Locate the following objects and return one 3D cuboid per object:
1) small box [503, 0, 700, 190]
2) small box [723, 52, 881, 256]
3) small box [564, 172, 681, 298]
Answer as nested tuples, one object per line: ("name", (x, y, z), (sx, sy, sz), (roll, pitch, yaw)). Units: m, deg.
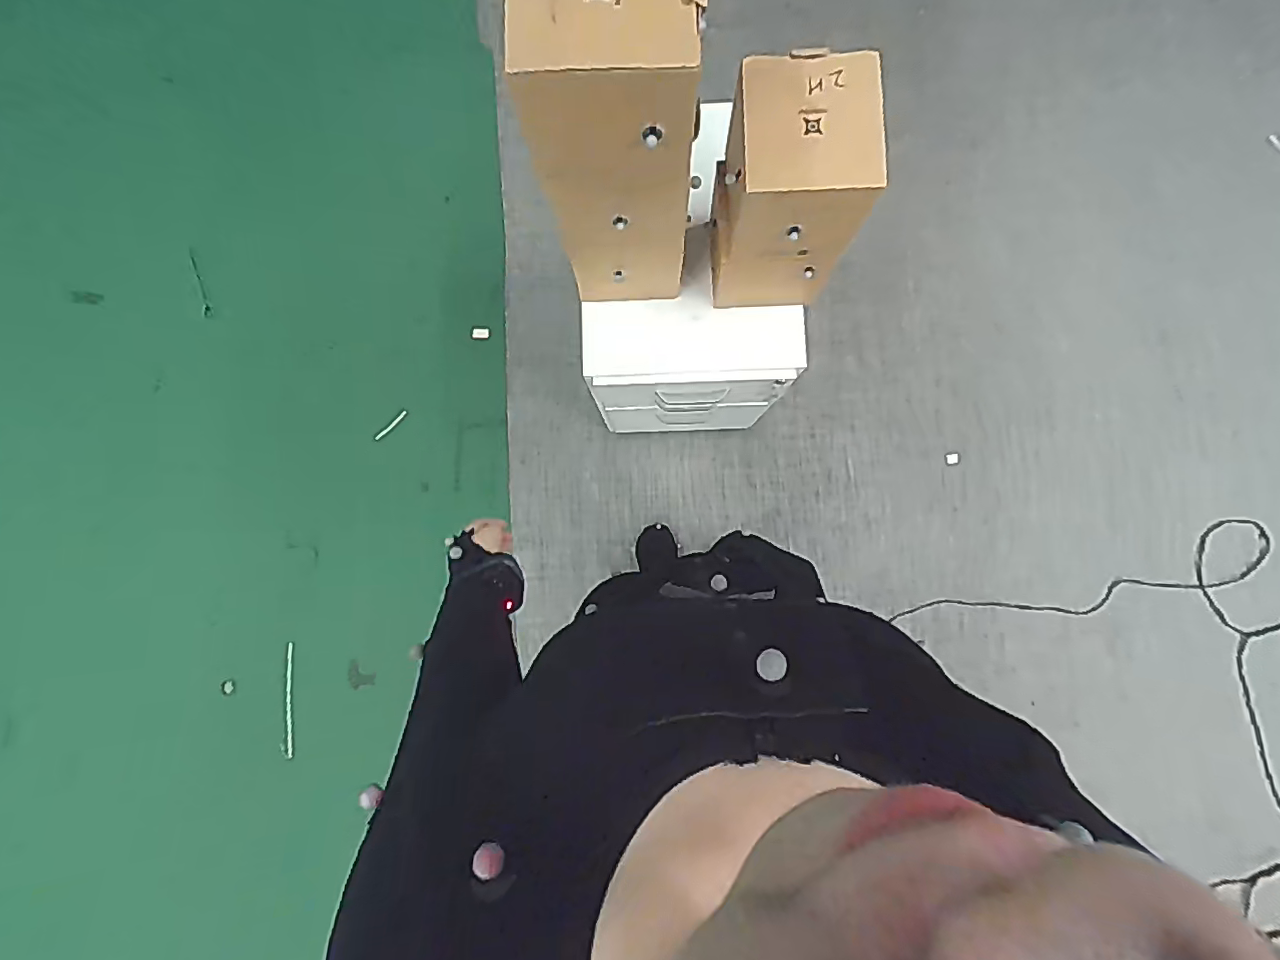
("small box", (-0.035, -0.429, 0.564), (0.179, 0.176, 0.168), (-2, 84, 1))
("small box", (0.203, -0.417, 0.720), (0.168, 0.176, 0.179), (-1, 84, 1))
("small box", (-0.025, -0.412, 0.891), (0.179, 0.176, 0.168), (-2, 85, 0))
